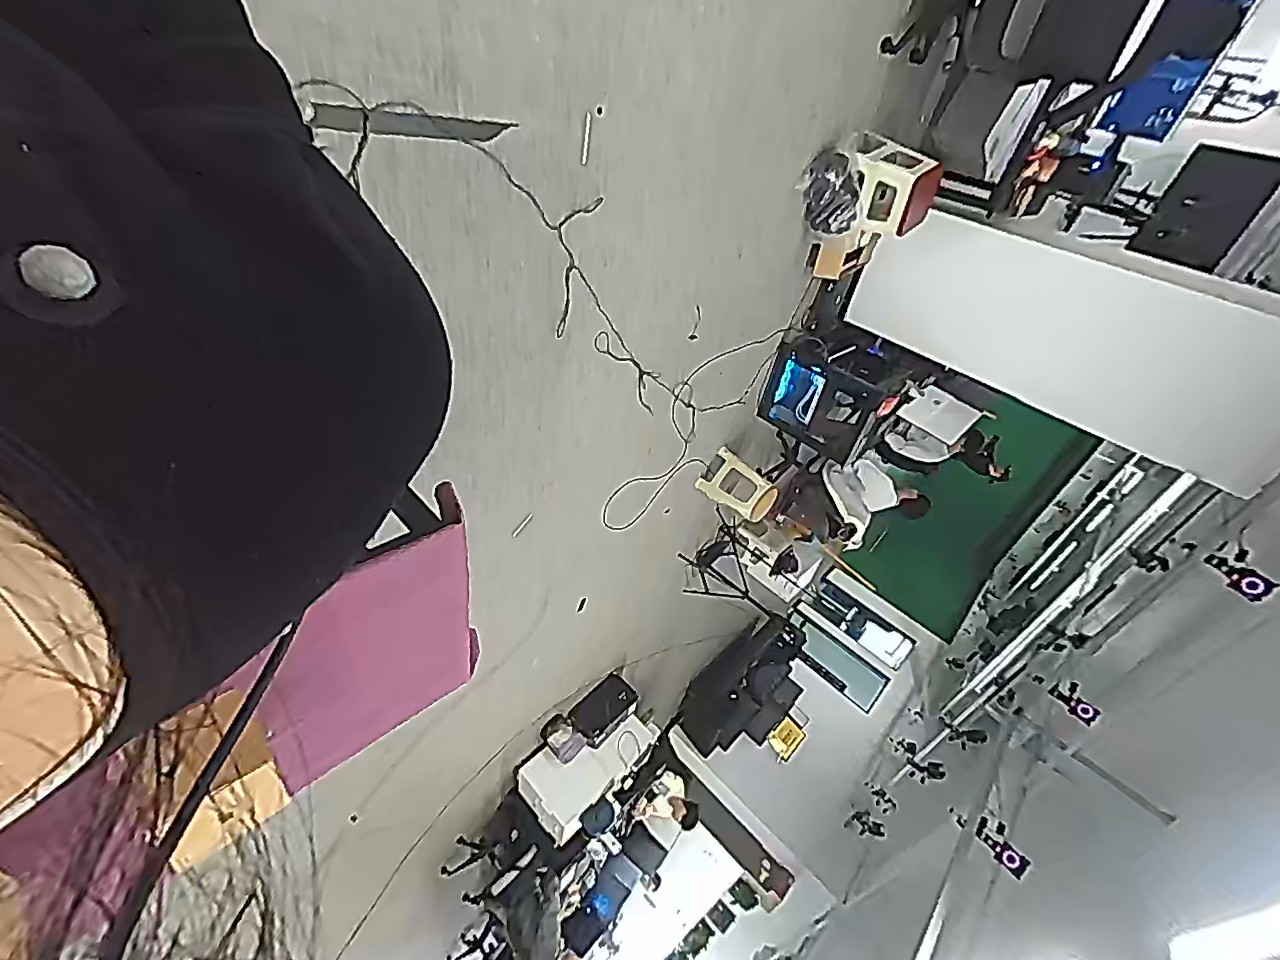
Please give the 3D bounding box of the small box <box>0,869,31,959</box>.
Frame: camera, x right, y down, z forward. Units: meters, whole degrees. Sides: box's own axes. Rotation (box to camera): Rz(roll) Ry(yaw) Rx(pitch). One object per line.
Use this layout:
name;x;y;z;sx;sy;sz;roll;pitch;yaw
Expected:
small box;-0.964;0.651;0.715;0.179;0.176;0.168;-27;143;-42

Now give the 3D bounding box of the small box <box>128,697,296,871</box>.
small box;-0.724;0.505;0.922;0.168;0.176;0.179;-26;144;-40
